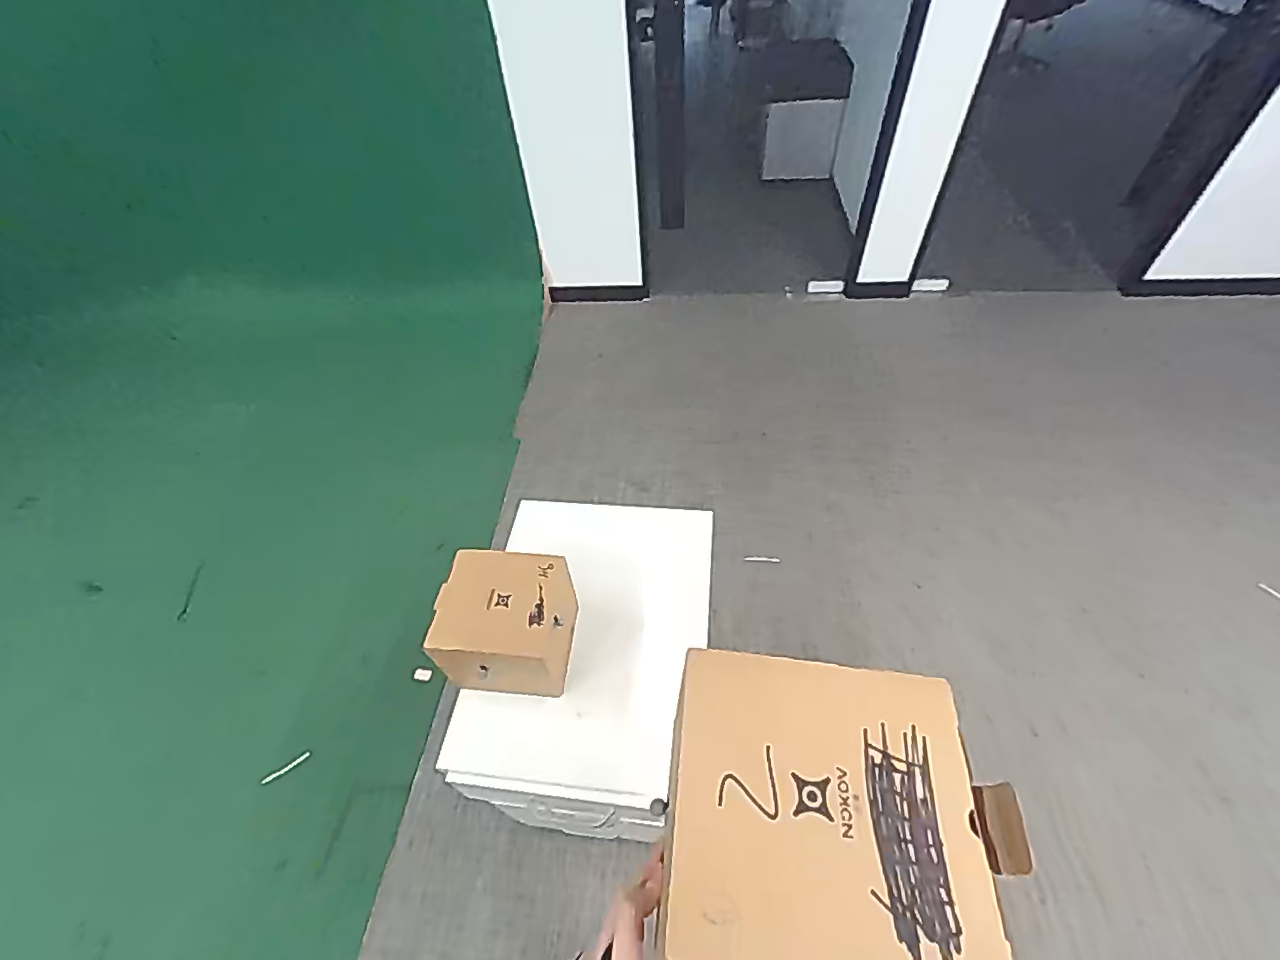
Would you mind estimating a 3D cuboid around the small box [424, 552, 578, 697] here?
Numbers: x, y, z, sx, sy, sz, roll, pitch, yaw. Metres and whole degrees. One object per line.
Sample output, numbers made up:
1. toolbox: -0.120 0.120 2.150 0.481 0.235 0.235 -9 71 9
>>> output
1. small box: -0.206 0.232 0.860 0.179 0.176 0.168 3 50 6
